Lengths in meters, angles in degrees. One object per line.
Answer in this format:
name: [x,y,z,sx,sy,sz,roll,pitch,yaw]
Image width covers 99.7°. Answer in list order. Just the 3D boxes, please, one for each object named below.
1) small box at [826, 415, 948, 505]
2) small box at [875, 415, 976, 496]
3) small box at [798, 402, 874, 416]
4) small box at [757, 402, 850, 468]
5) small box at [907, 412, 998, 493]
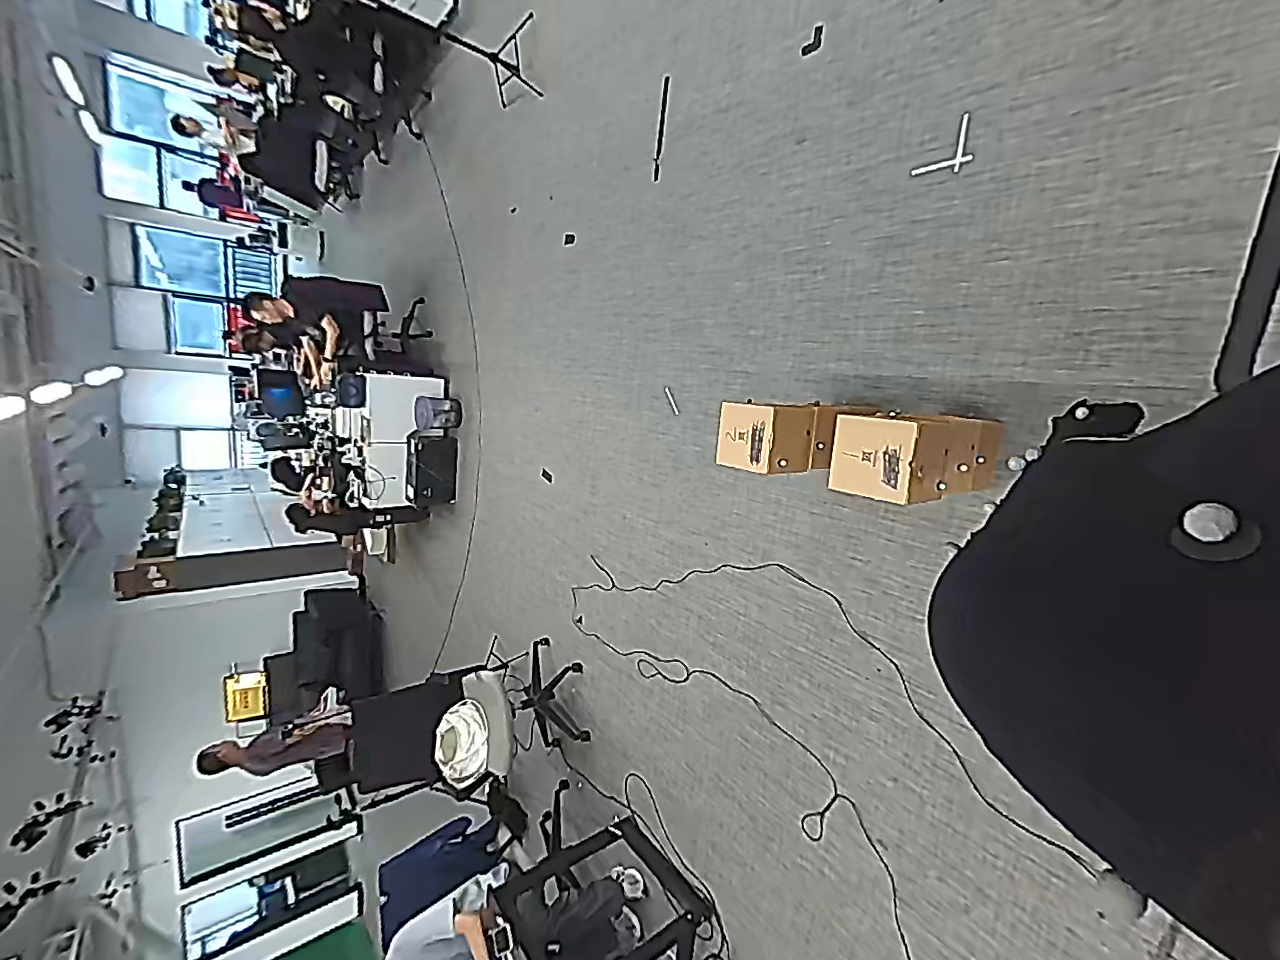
small box: [0.533,-0.050,1.166,0.179,0.176,0.168,17,106,50]
small box: [0.660,-0.065,1.269,0.179,0.176,0.168,15,105,49]
small box: [0.579,-0.138,1.619,0.168,0.176,0.179,15,104,49]
small box: [0.455,-0.127,1.512,0.179,0.176,0.168,15,105,50]
small box: [0.780,-0.074,1.378,0.168,0.176,0.179,21,108,48]
